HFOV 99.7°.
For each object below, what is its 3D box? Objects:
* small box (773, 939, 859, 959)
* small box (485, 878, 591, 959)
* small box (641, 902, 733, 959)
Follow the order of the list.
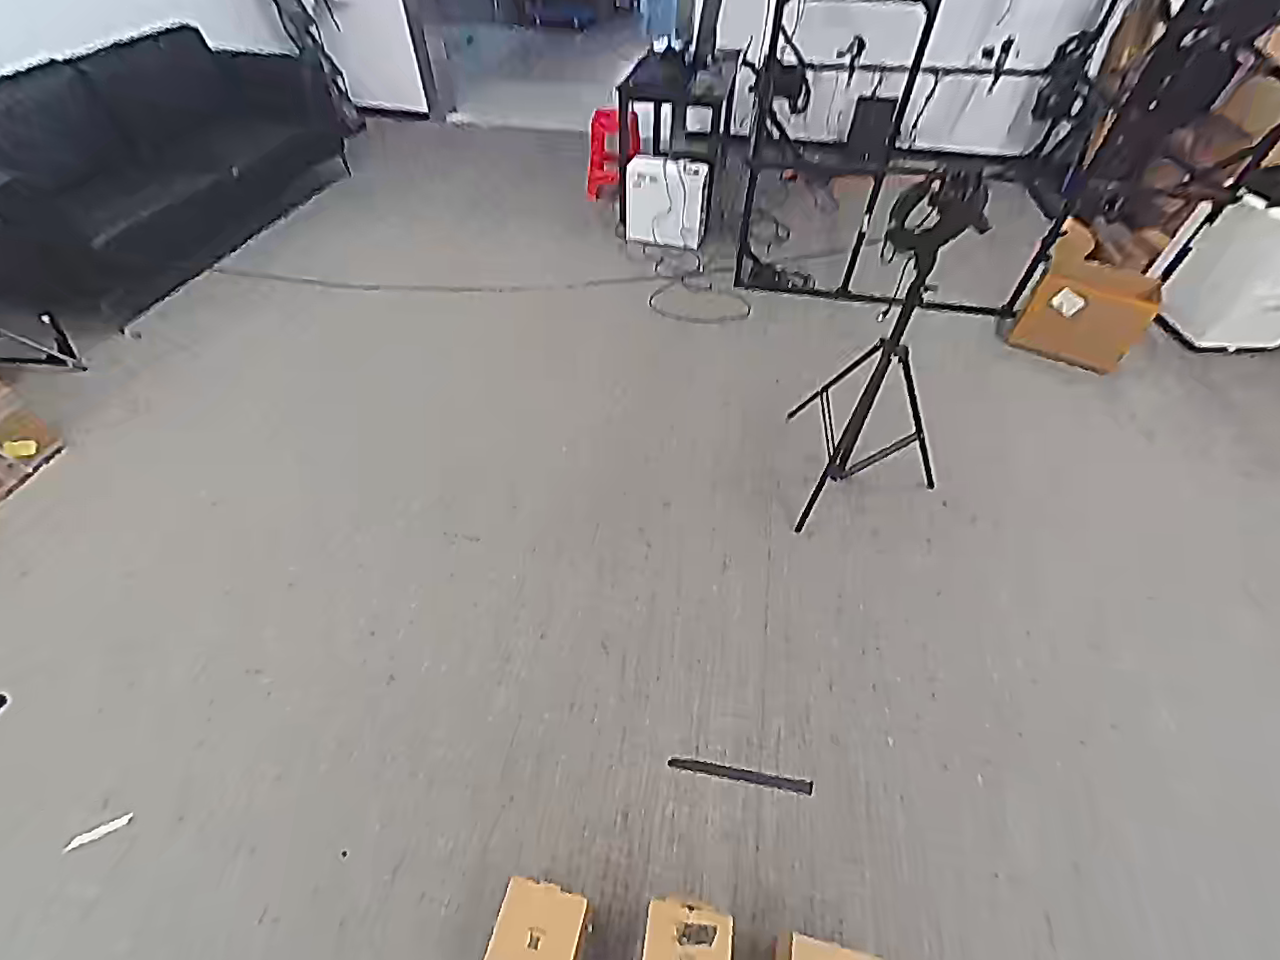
[{"bbox_3d":[0.355,1.006,1.031,0.179,0.176,0.168,12,49,8],"label":"small box"},{"bbox_3d":[-0.202,0.936,1.087,0.168,0.176,0.179,10,50,10],"label":"small box"},{"bbox_3d":[0.084,0.963,1.063,0.168,0.176,0.179,8,49,7],"label":"small box"}]
